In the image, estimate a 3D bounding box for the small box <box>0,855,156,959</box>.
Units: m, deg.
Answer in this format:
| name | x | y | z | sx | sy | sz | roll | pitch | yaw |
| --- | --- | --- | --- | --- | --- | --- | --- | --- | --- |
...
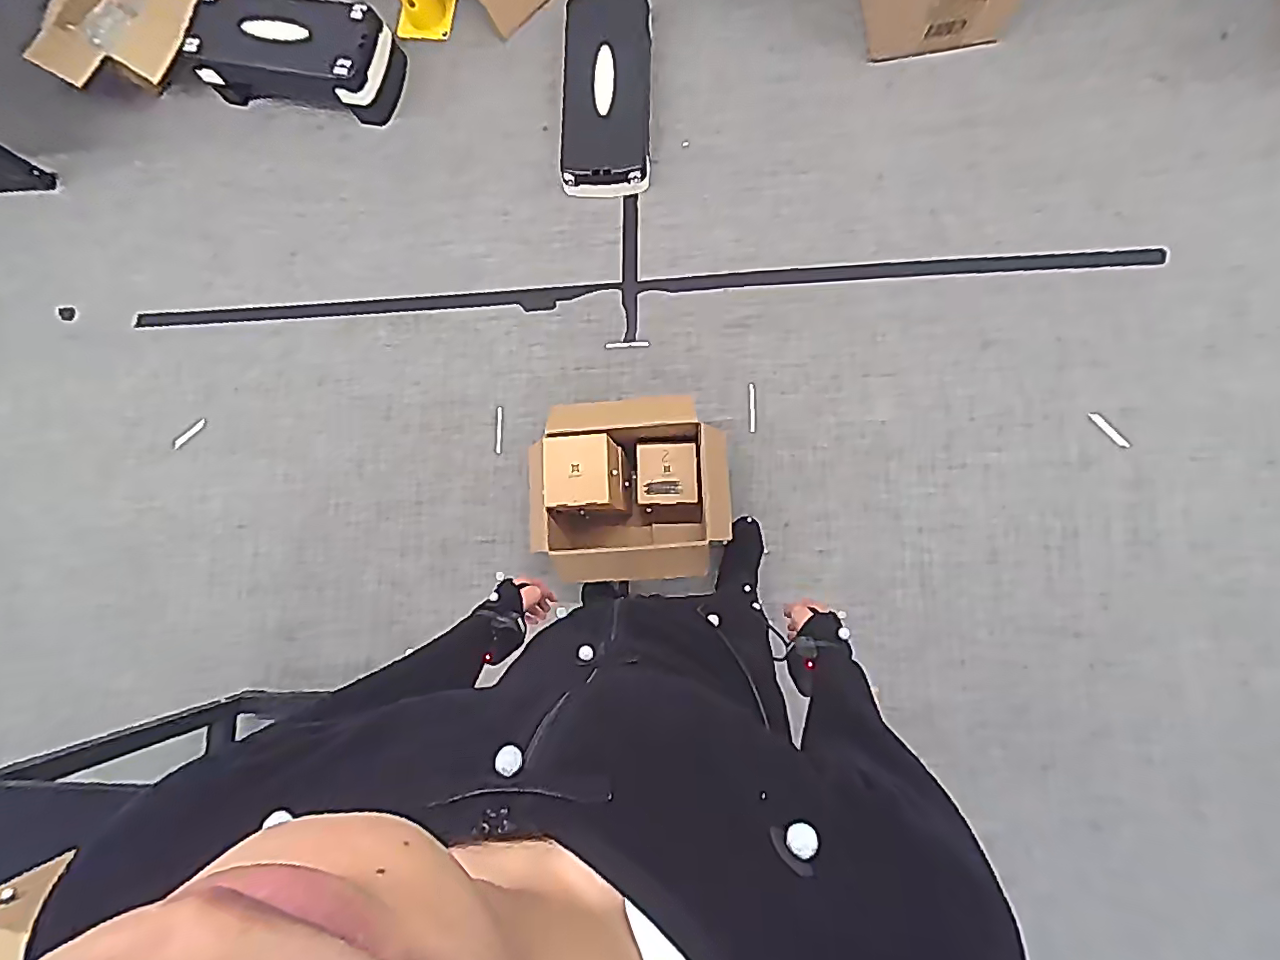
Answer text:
| name | x | y | z | sx | sy | sz | roll | pitch | yaw |
| --- | --- | --- | --- | --- | --- | --- | --- | --- | --- |
| small box | -0.922 | 0.722 | 0.840 | 0.179 | 0.176 | 0.168 | 6 | 85 | 6 |
